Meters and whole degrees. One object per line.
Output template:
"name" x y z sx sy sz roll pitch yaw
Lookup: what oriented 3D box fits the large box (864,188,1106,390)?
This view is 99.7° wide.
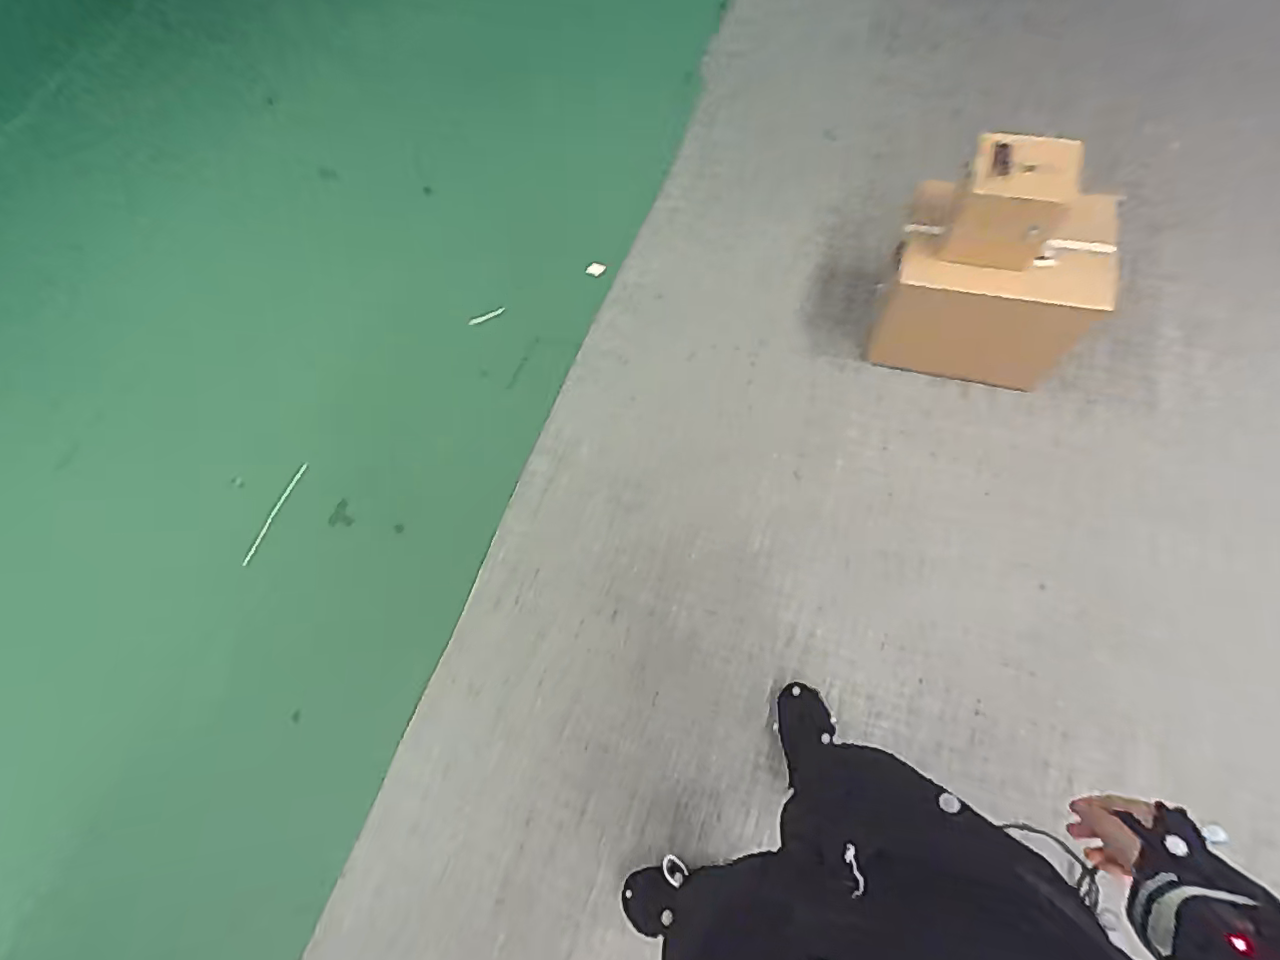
"large box" 0.801 -0.452 1.309 0.408 0.320 0.320 13 71 13
